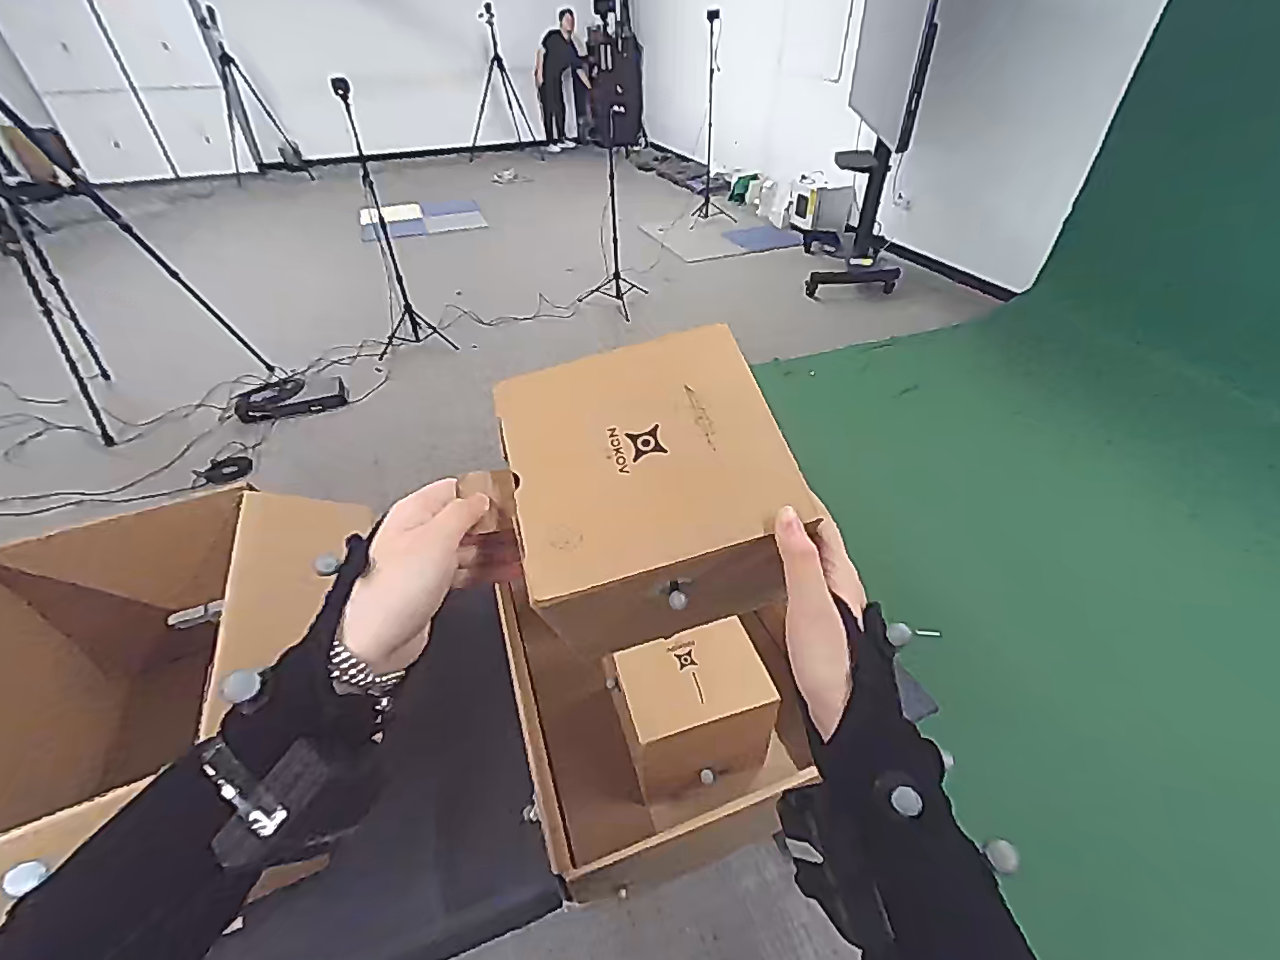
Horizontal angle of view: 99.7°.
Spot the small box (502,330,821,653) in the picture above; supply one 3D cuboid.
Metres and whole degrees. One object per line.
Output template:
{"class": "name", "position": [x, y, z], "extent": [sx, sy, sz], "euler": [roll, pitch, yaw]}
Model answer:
{"class": "small box", "position": [0.012, 0.019, 0.420], "extent": [0.179, 0.176, 0.168], "euler": [-16, 61, -4]}
